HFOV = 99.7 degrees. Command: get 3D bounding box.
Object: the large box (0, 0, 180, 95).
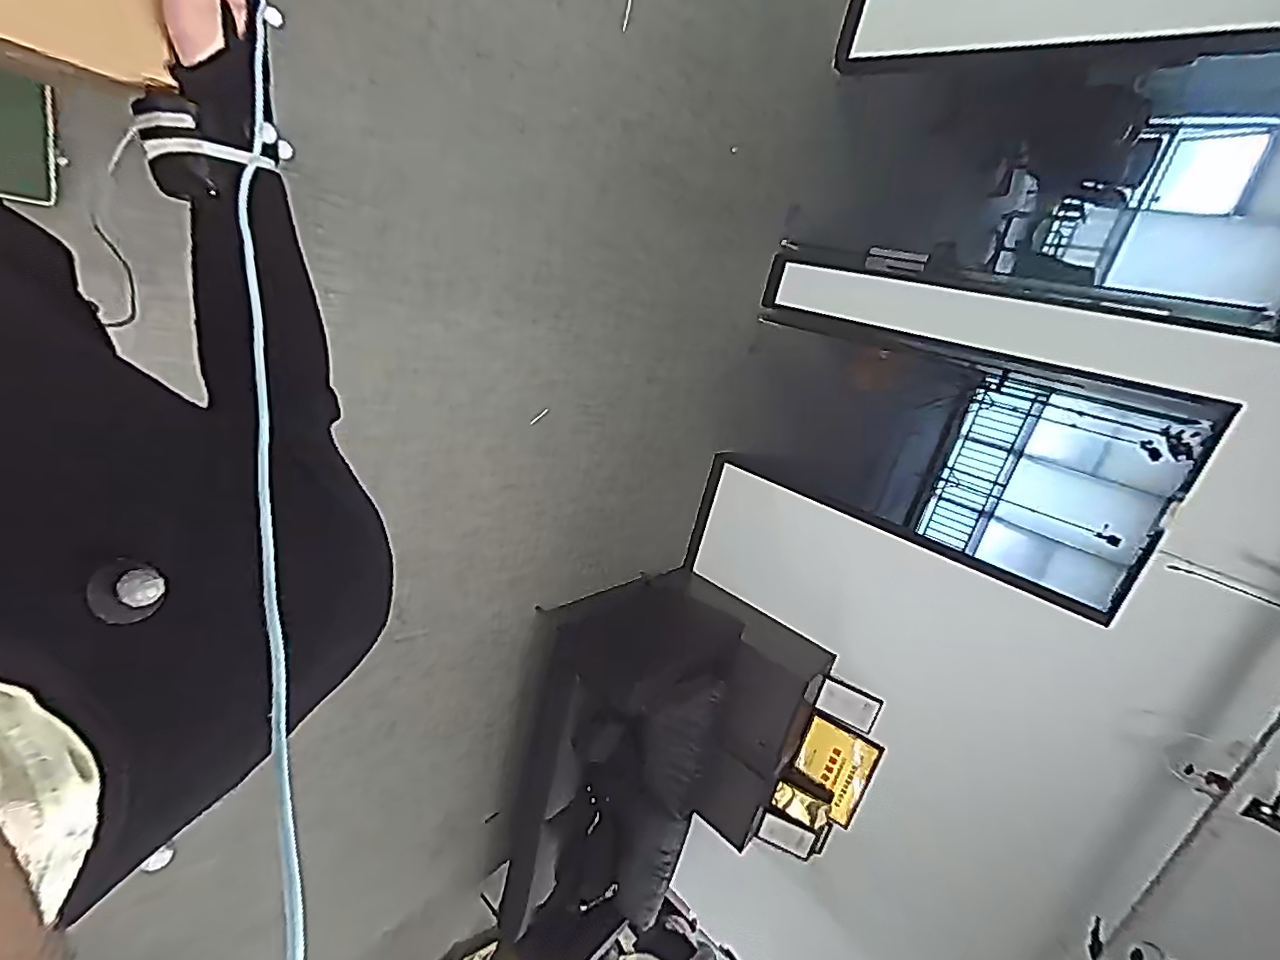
[{"bbox_3d":[-0.558,-0.476,0.299,0.408,0.320,0.320,-9,119,-52],"label":"large box"}]
